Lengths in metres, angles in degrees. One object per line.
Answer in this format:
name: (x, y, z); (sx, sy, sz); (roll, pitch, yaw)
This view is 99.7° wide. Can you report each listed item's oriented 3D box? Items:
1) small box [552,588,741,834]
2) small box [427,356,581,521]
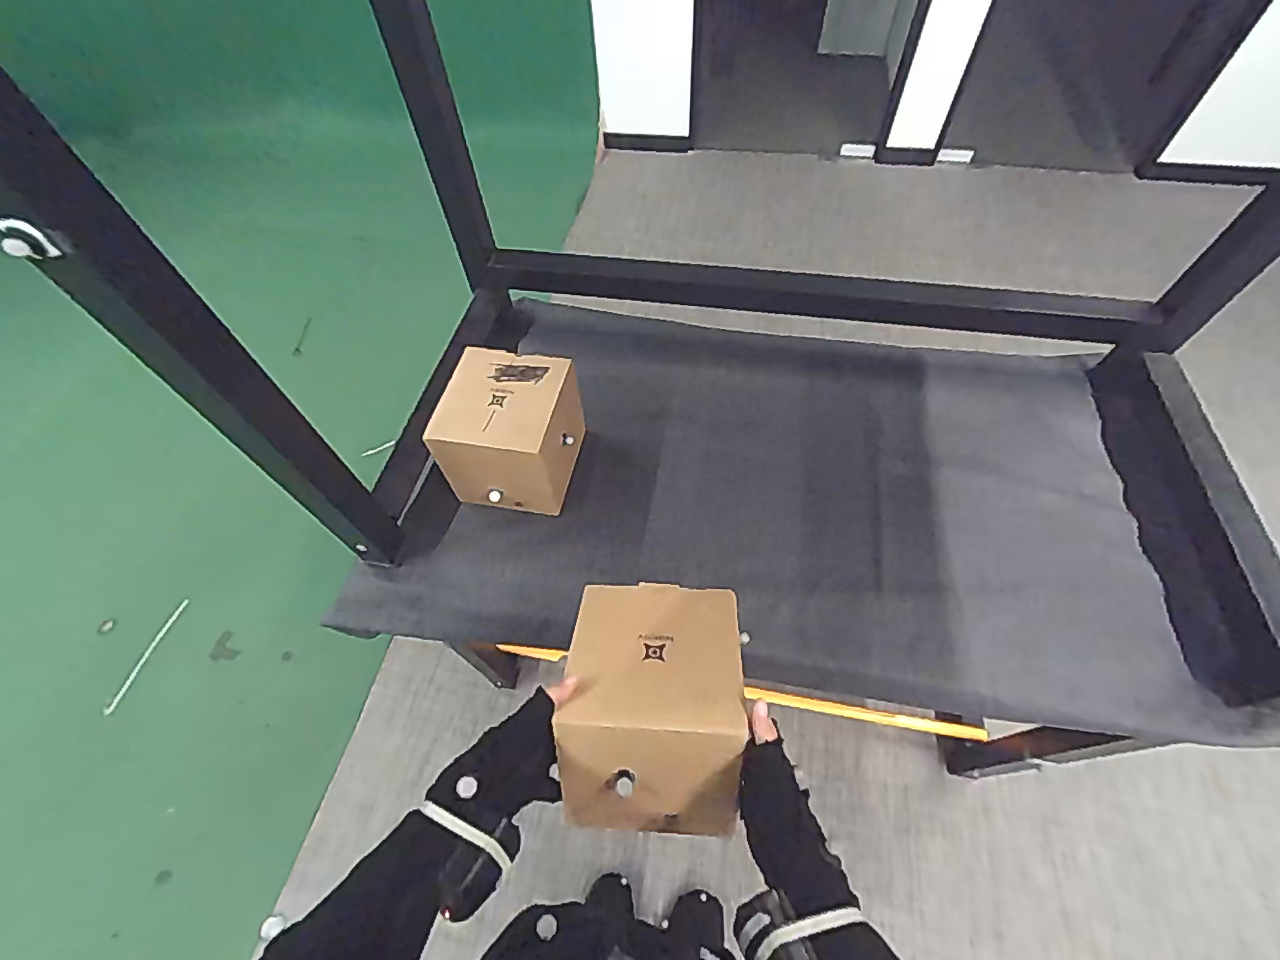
small box: (0.013, 0.236, 0.566); (0.168, 0.176, 0.179); (2, 29, 4)
small box: (-0.192, -0.061, 0.830); (0.168, 0.176, 0.179); (8, 57, 7)
